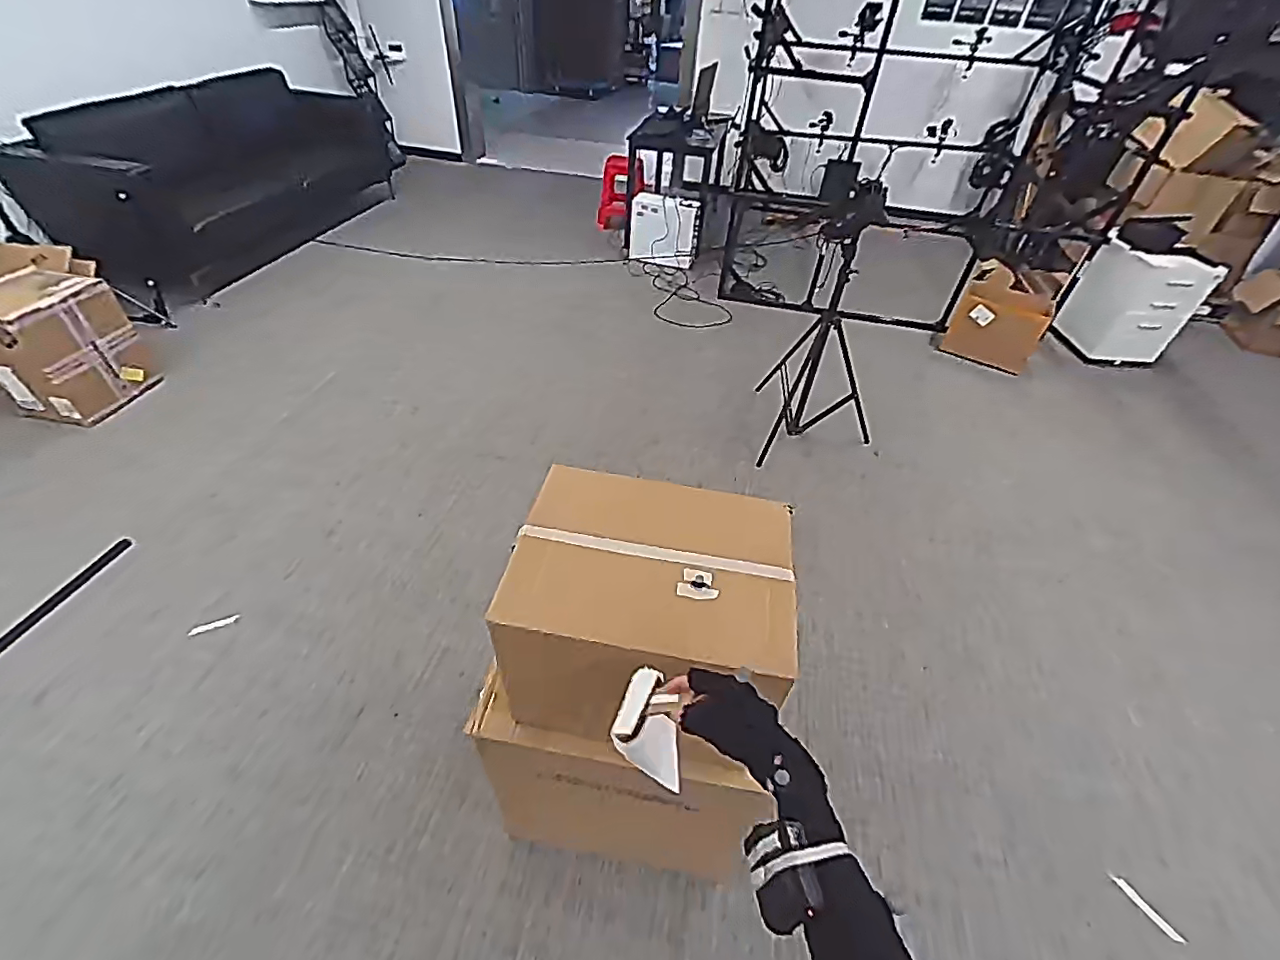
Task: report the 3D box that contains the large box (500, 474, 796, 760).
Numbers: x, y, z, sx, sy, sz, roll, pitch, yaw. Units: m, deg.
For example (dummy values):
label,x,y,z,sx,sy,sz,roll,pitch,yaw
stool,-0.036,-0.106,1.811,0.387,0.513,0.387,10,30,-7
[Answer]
label,x,y,z,sx,sy,sz,roll,pitch,yaw
large box,0.016,0.228,0.915,0.408,0.320,0.320,9,43,4
